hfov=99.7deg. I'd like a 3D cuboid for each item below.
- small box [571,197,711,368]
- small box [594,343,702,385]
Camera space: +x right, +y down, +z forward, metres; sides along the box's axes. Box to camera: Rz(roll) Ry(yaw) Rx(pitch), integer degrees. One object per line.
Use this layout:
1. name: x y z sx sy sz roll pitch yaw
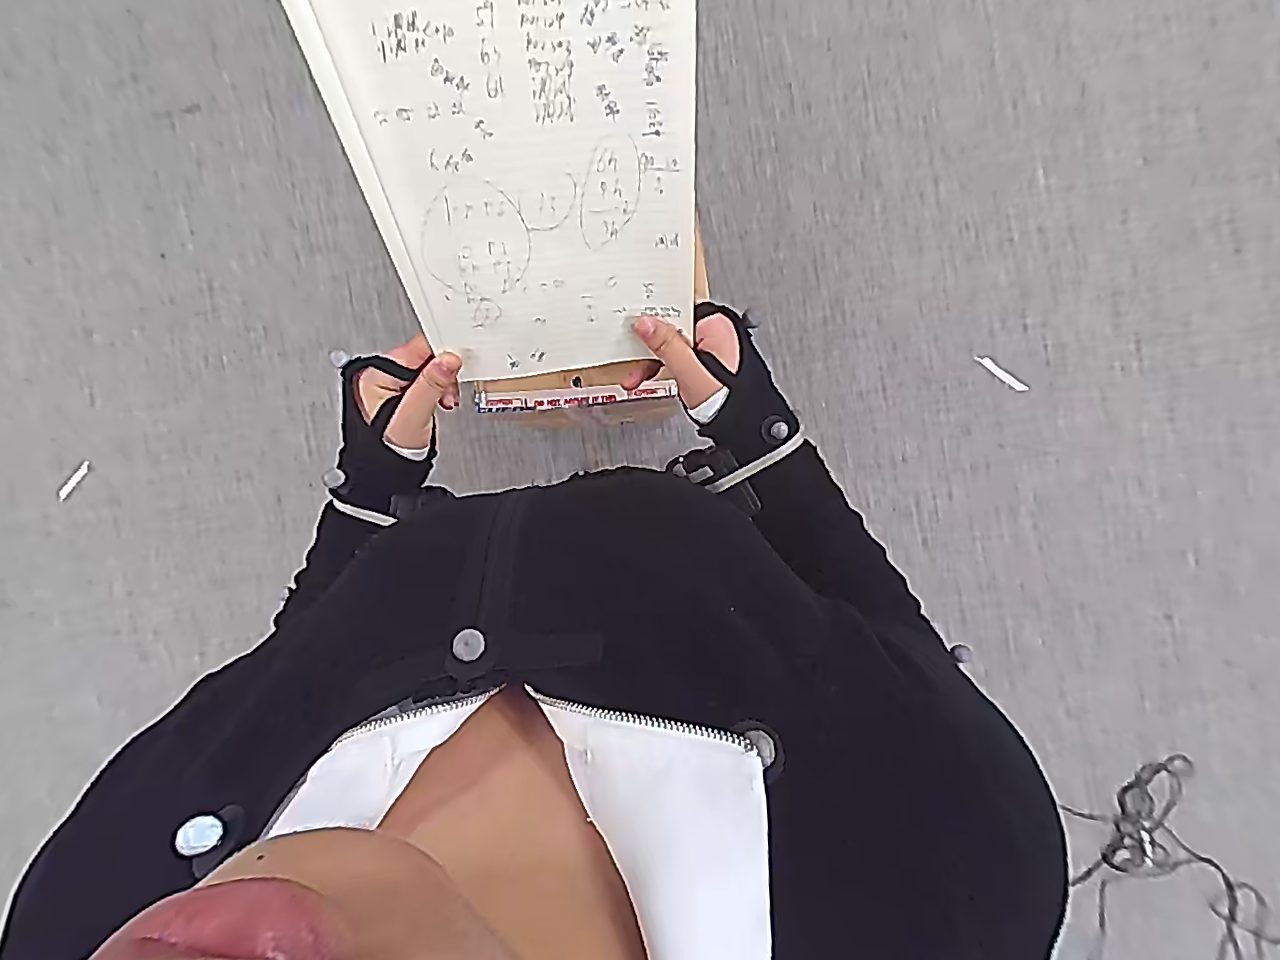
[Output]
1. small box: -0.001 -0.271 0.778 0.168 0.176 0.179 -8 92 -1
2. small box: 0.001 -0.268 0.942 0.179 0.176 0.168 -11 92 0
